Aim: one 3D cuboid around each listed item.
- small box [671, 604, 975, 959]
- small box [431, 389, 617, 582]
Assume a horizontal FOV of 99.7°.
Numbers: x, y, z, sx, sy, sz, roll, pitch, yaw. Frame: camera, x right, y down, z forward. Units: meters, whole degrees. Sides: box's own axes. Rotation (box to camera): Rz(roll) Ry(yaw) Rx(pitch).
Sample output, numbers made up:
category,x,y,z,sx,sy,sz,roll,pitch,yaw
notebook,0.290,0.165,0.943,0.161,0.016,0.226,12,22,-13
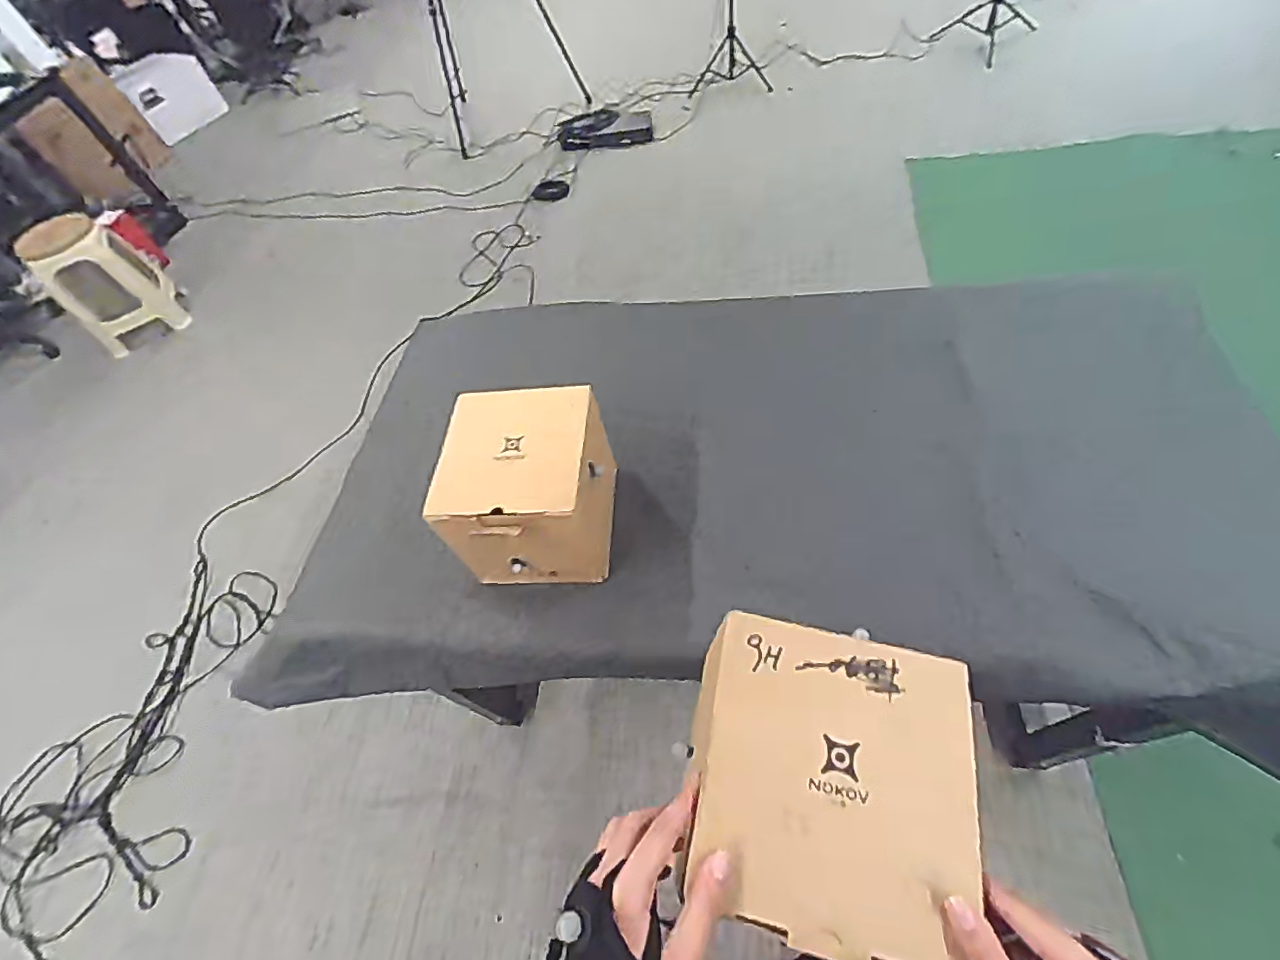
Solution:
category,x,y,z,sx,sy,sz,roll,pitch,yaw
small box,0.120,0.215,0.404,0.168,0.176,0.179,11,62,7
small box,-0.124,0.011,0.665,0.168,0.176,0.179,-2,56,8
